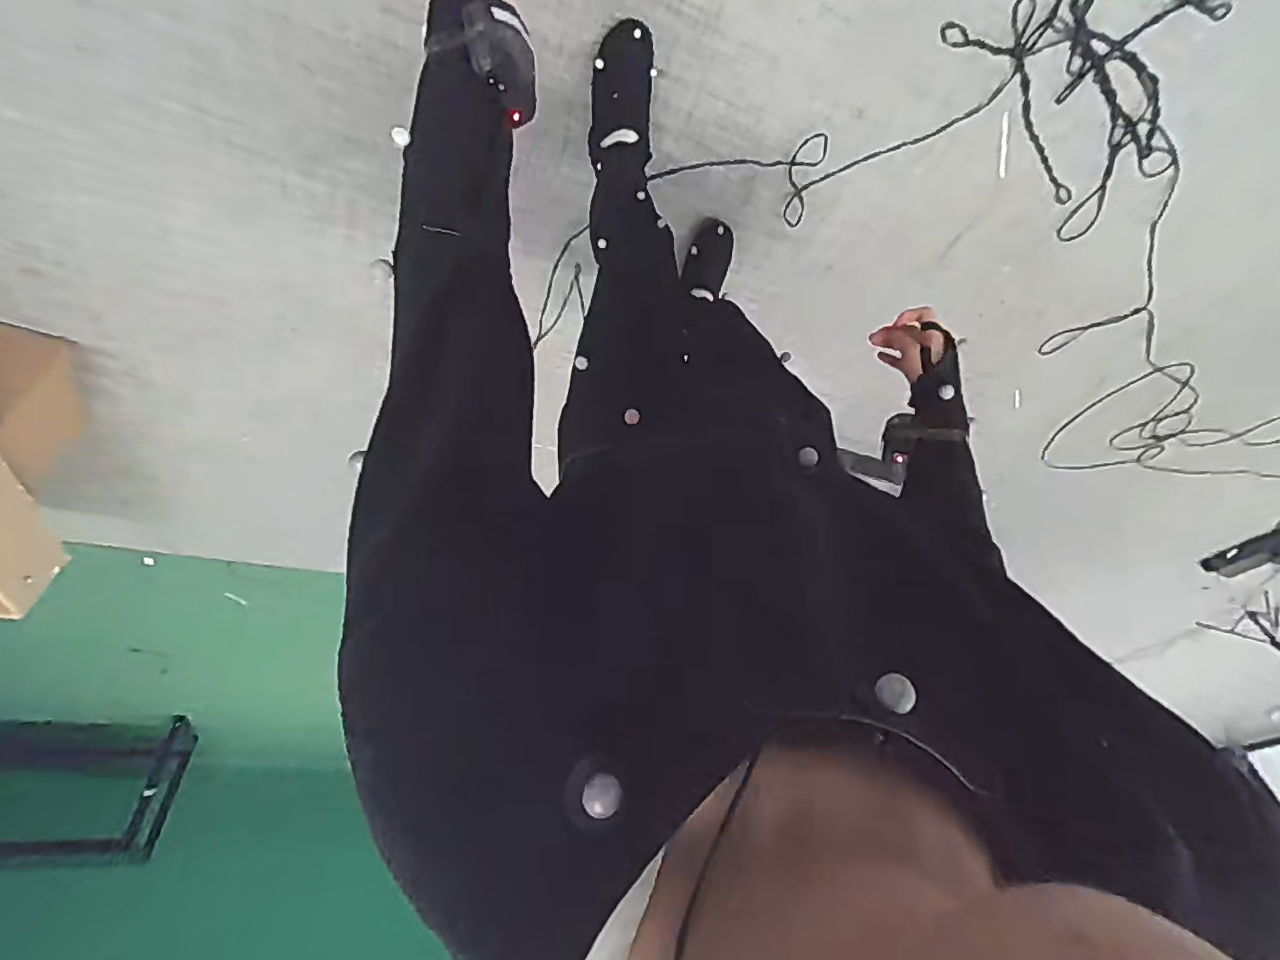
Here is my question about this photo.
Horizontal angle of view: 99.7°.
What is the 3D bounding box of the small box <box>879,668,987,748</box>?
[{"bbox_3d":[0.817,0.645,1.530,0.179,0.176,0.168,10,137,-19],"label":"small box"}]
